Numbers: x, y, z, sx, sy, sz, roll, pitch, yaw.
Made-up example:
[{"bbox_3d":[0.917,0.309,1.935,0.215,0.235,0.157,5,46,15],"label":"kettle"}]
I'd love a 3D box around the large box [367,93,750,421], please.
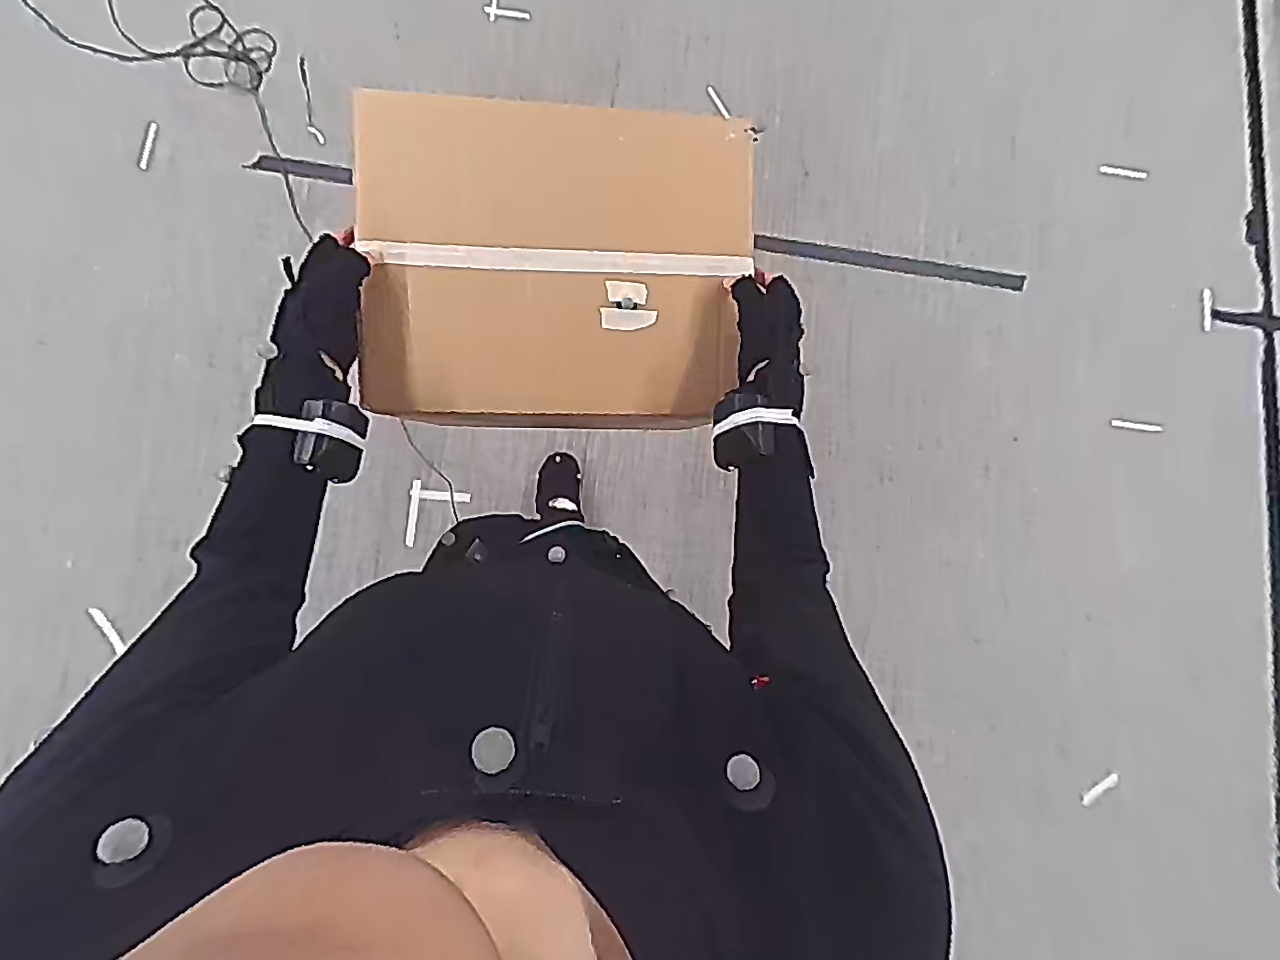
[{"bbox_3d":[-0.096,-0.244,0.718,0.408,0.320,0.320,0,93,-7],"label":"large box"}]
